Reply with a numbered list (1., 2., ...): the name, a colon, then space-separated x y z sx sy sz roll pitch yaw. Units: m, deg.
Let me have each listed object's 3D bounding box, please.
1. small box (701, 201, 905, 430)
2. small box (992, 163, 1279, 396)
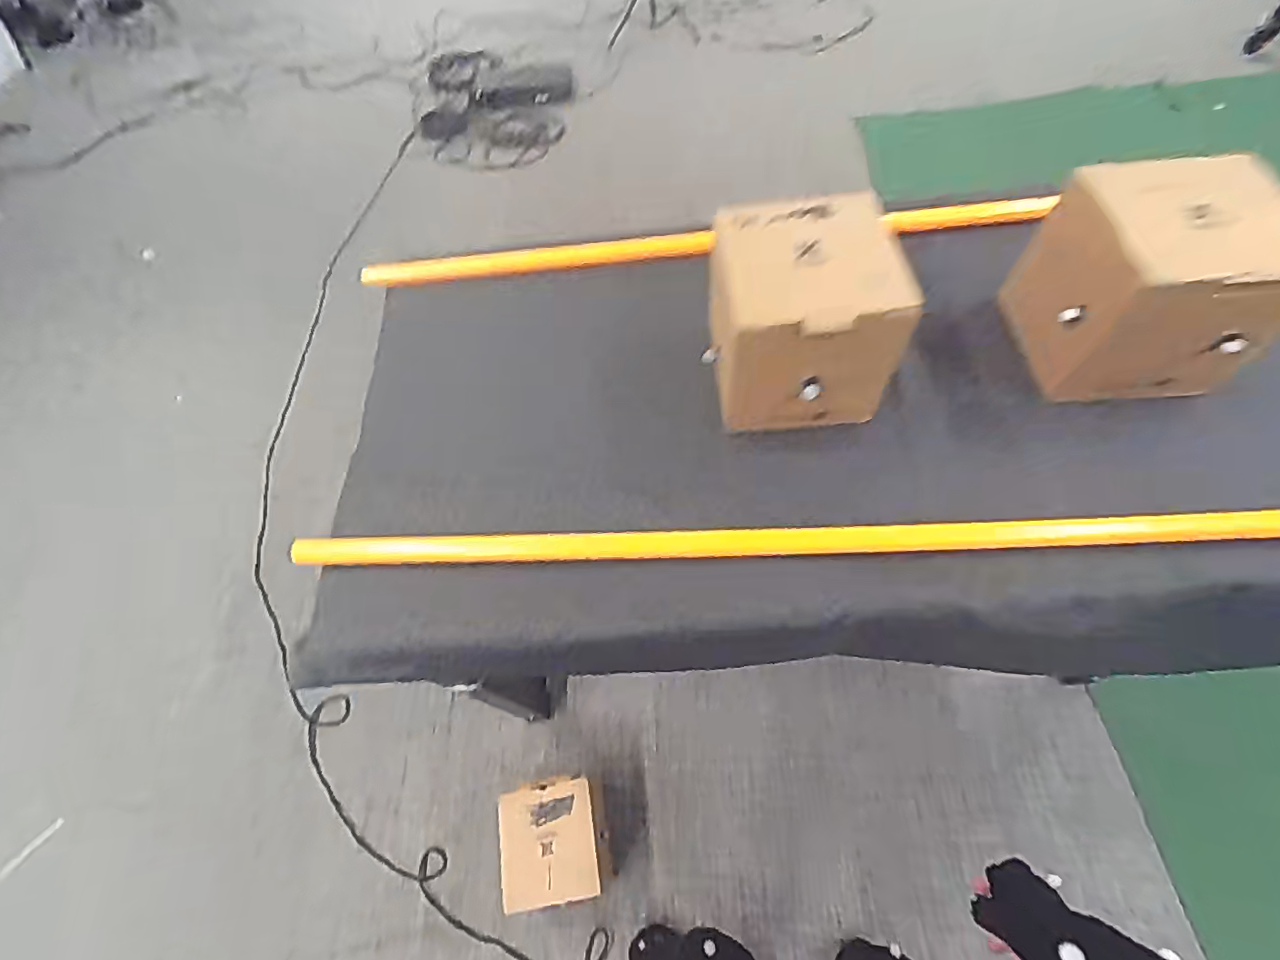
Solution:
1. small box: 0.164 -0.170 0.602 0.168 0.176 0.179 -8 58 3
2. small box: 0.522 -0.202 0.579 0.168 0.176 0.179 -2 58 4
